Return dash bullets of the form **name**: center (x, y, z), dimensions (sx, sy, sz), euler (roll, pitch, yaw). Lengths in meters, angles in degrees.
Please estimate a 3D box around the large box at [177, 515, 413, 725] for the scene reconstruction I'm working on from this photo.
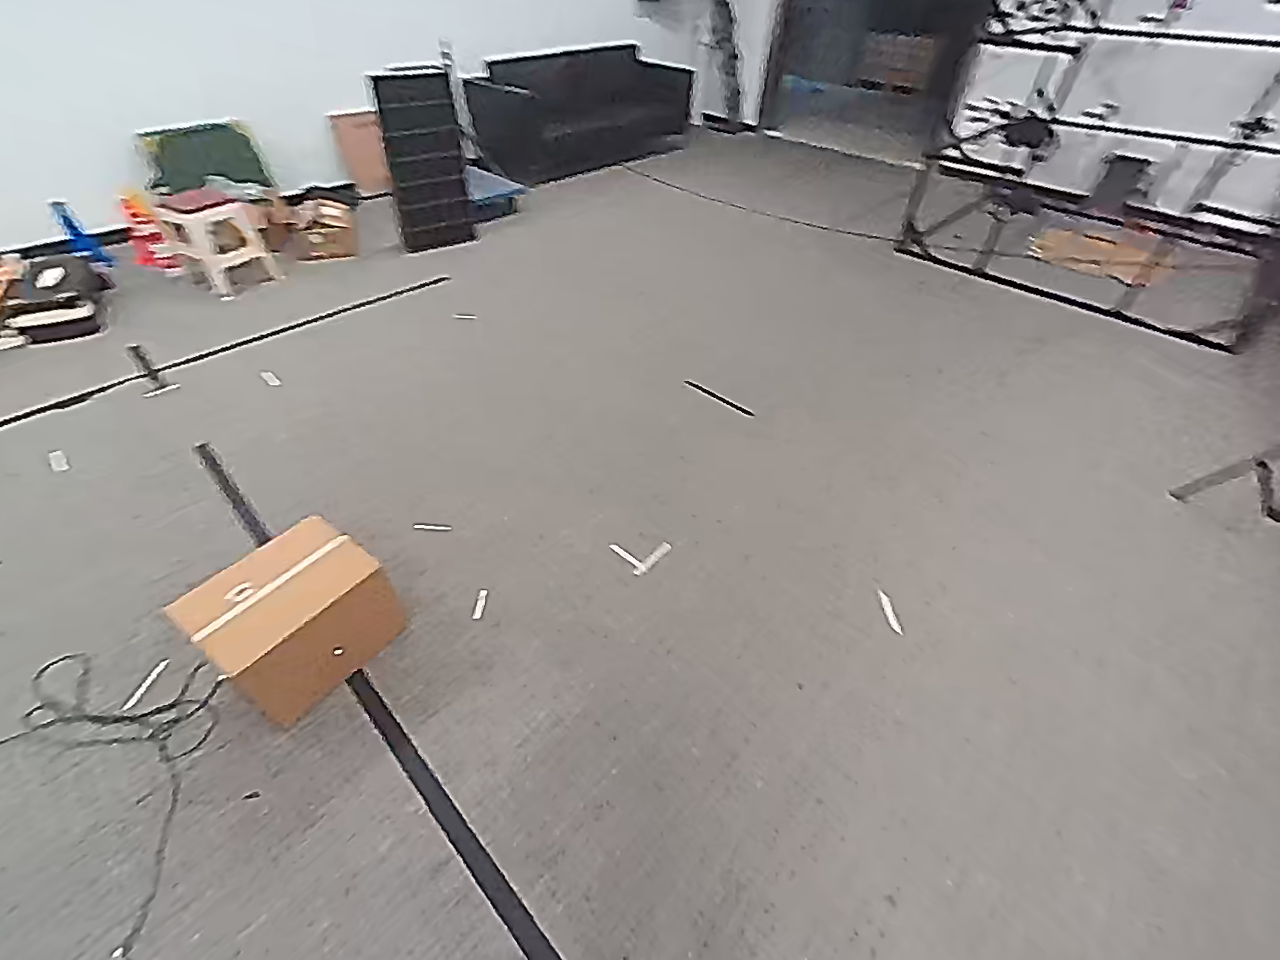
- **large box**: center (-0.927, 0.379, 1.513), dimensions (0.320, 0.320, 0.408), euler (28, 50, 23)
